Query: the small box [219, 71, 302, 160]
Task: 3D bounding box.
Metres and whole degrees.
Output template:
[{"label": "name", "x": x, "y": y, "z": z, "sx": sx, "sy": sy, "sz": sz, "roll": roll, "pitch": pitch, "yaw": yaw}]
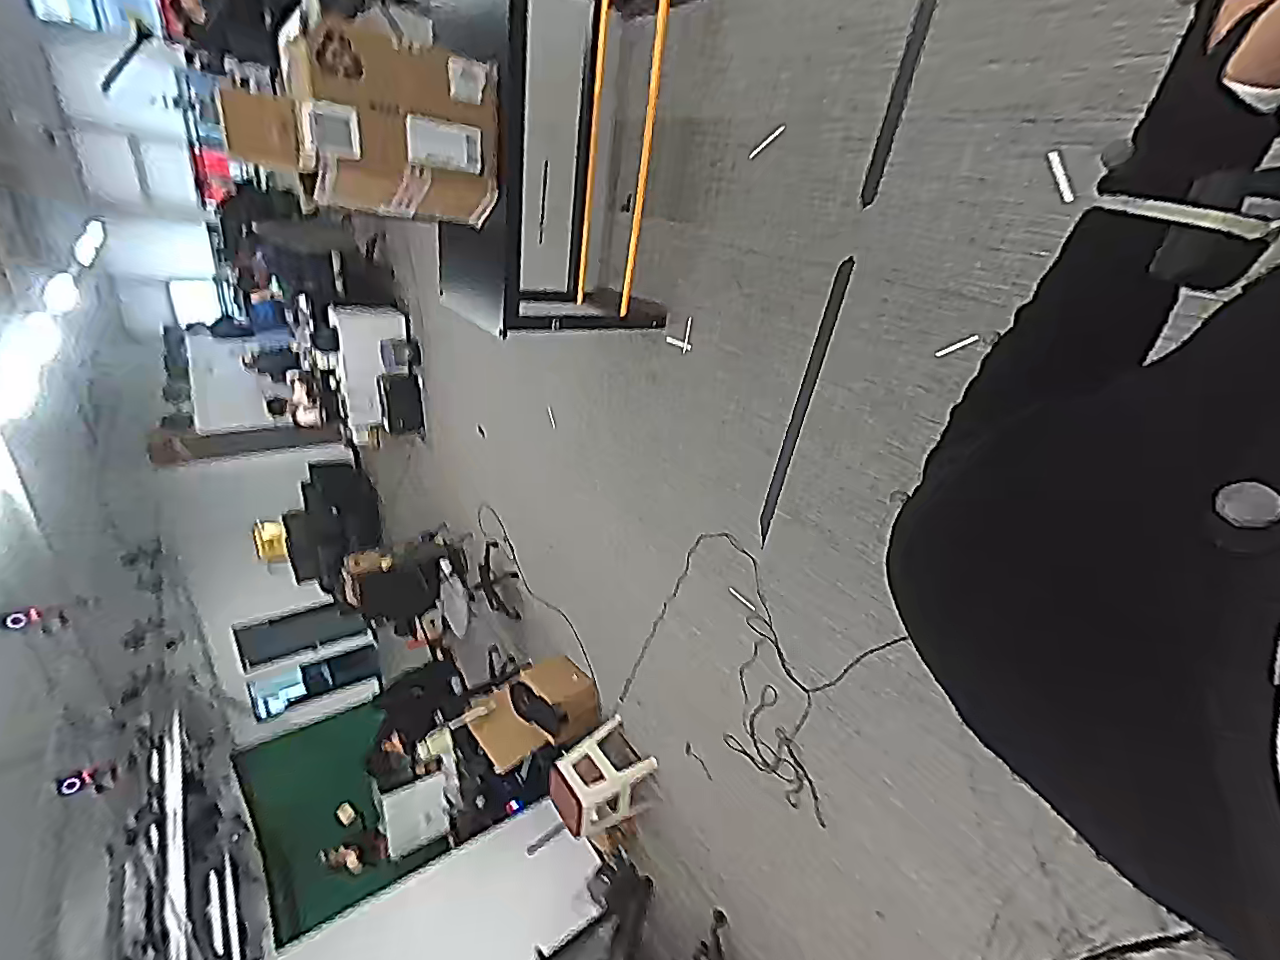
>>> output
[{"label": "small box", "x": -1.059, "y": -1.009, "z": 1.513, "sx": 0.179, "sy": 0.176, "sz": 0.168, "roll": 31, "pitch": 123, "yaw": 47}]
